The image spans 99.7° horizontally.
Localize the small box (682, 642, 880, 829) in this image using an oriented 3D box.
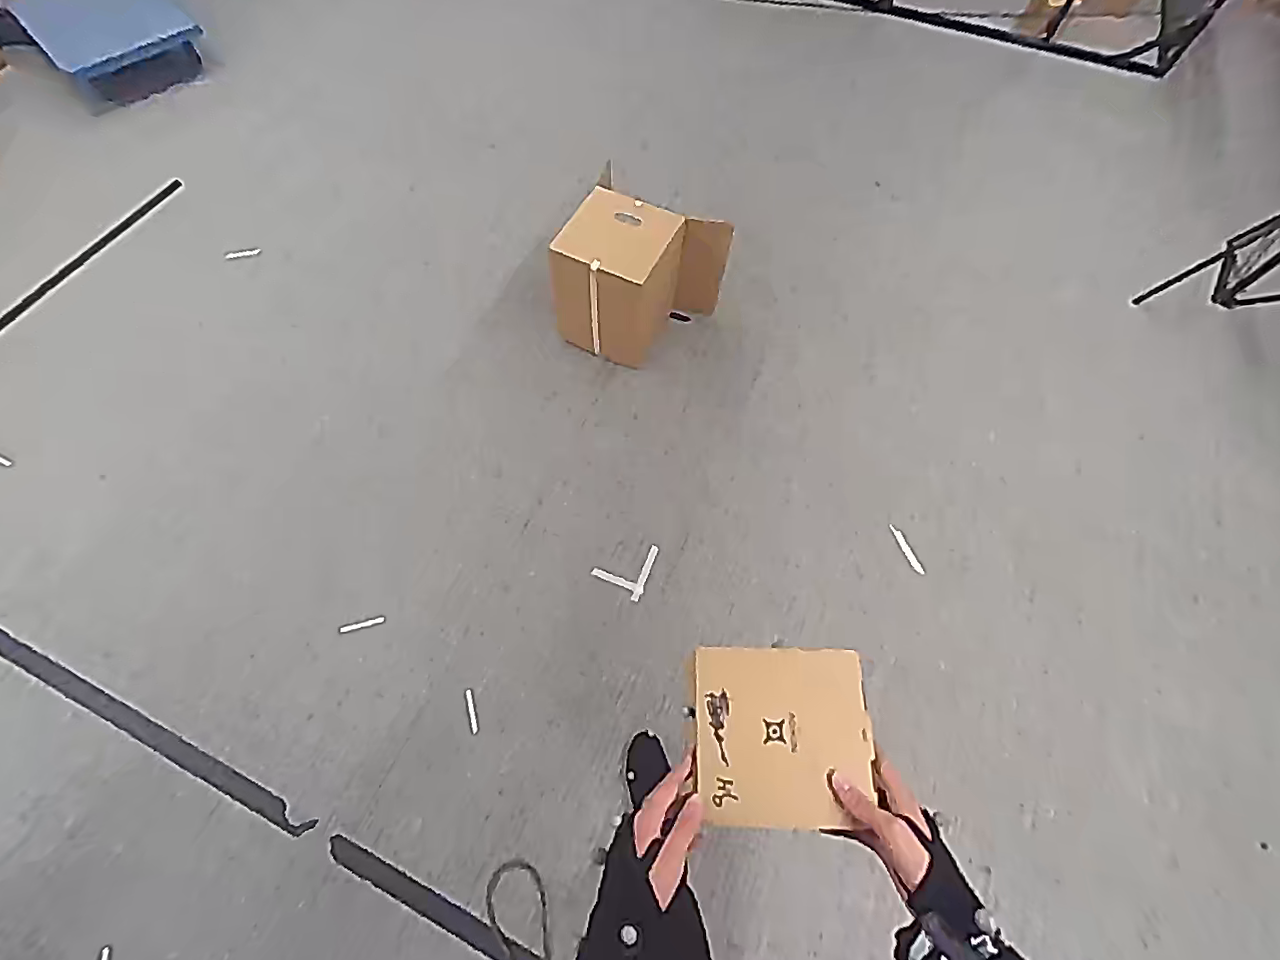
[{"bbox_3d":[0.143,0.280,0.612,0.179,0.176,0.168,2,67,1],"label":"small box"}]
